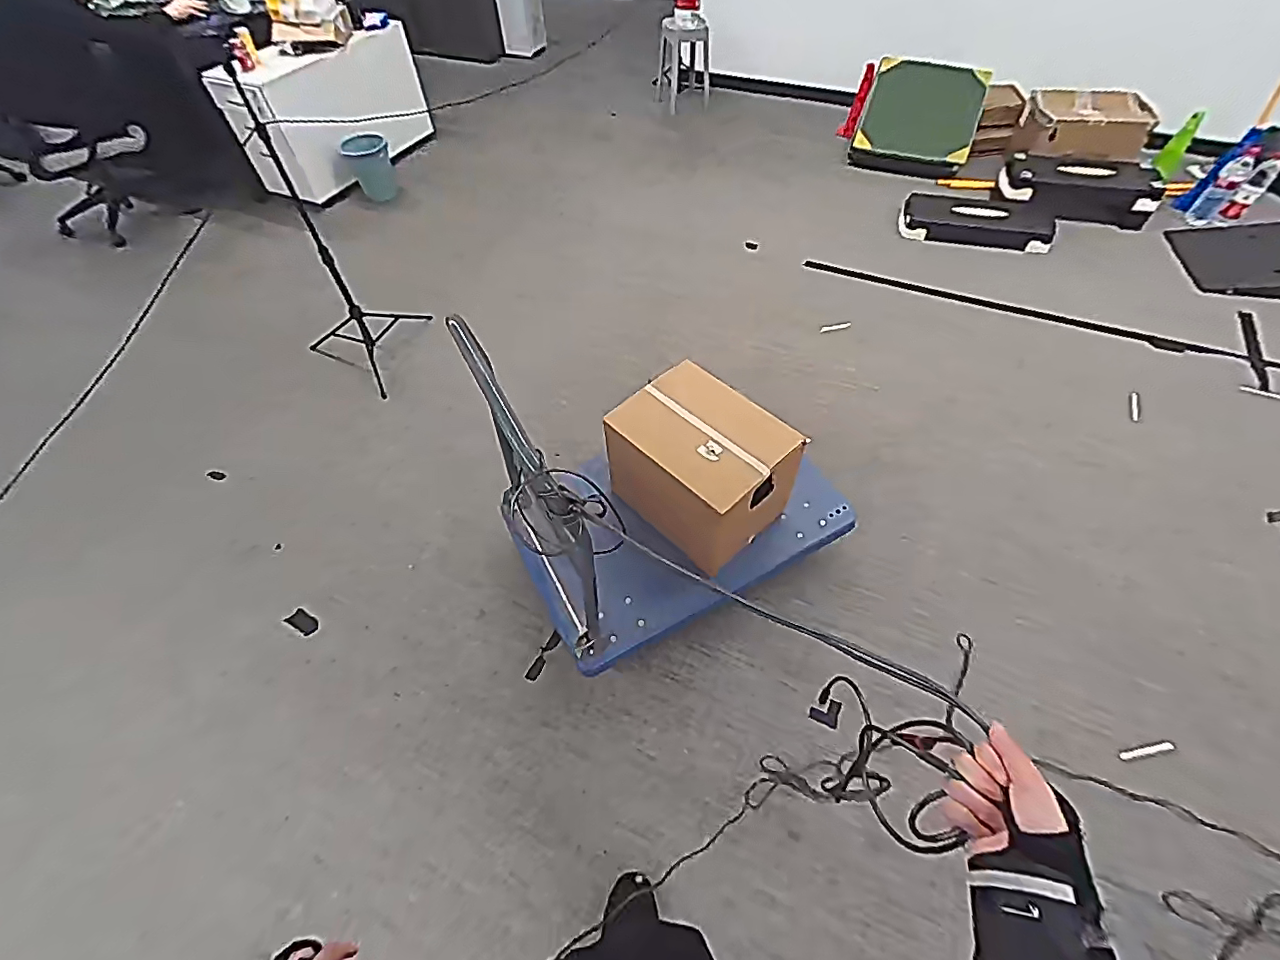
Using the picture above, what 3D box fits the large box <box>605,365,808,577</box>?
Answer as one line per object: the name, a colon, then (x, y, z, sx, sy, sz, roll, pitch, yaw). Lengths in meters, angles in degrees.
large box: (0.157, -0.026, 1.432, 0.320, 0.320, 0.408, -38, 62, -23)
